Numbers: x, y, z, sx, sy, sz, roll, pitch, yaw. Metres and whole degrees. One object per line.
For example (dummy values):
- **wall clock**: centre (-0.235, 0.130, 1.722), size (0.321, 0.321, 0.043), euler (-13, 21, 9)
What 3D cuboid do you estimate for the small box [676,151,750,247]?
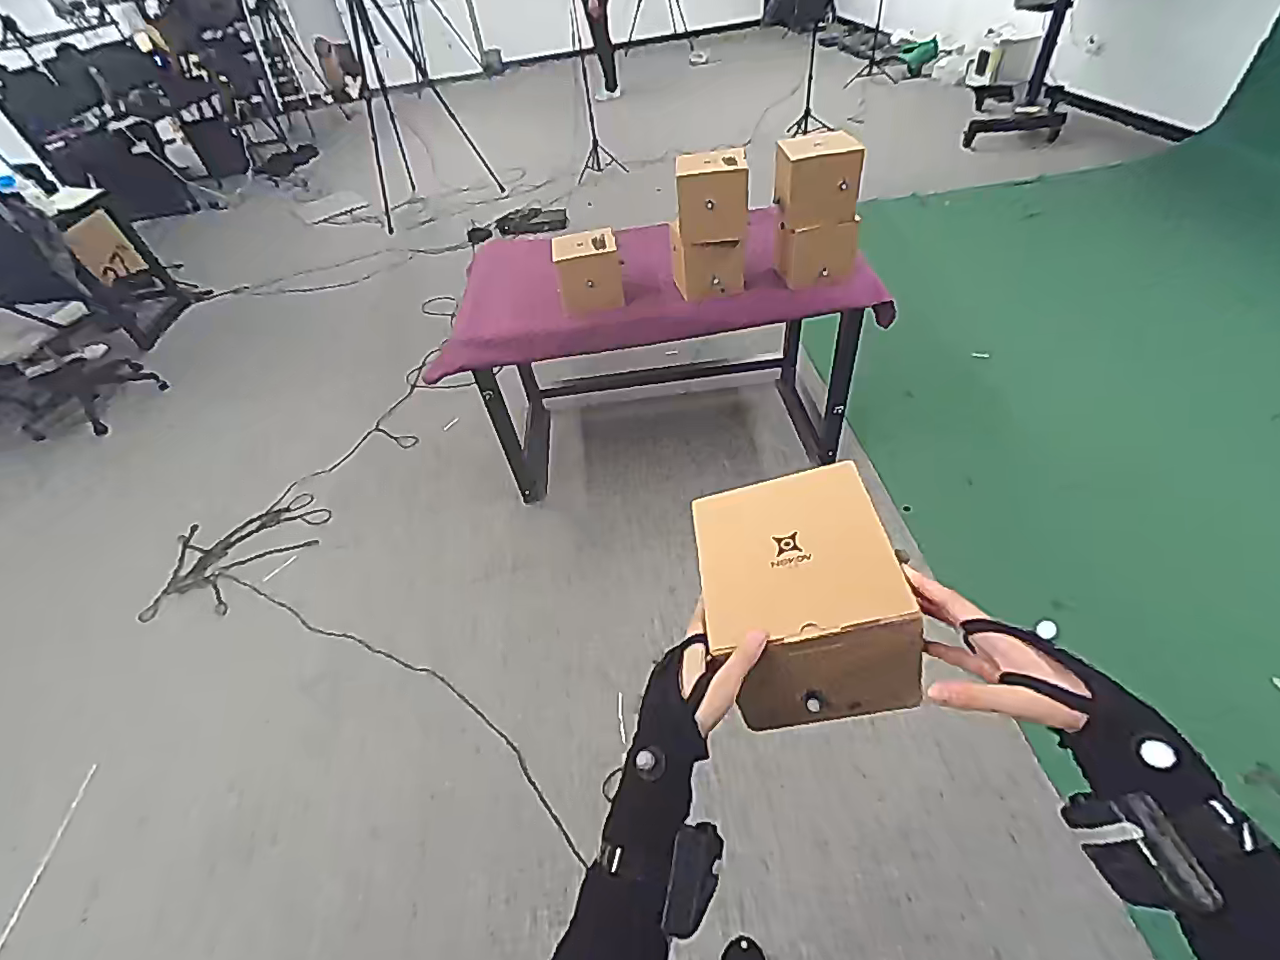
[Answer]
- **small box**: centre (0.188, -0.721, 1.392), size (0.179, 0.176, 0.168), euler (-3, 45, 8)

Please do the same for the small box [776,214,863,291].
- **small box**: centre (0.487, -0.648, 1.498), size (0.179, 0.176, 0.168), euler (-11, 46, 0)

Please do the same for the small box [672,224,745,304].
- **small box**: centre (0.192, -0.621, 1.526), size (0.168, 0.176, 0.179), euler (-13, 45, -2)

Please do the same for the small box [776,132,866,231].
- **small box**: centre (0.454, -0.763, 1.387), size (0.179, 0.176, 0.168), euler (-8, 46, 4)
